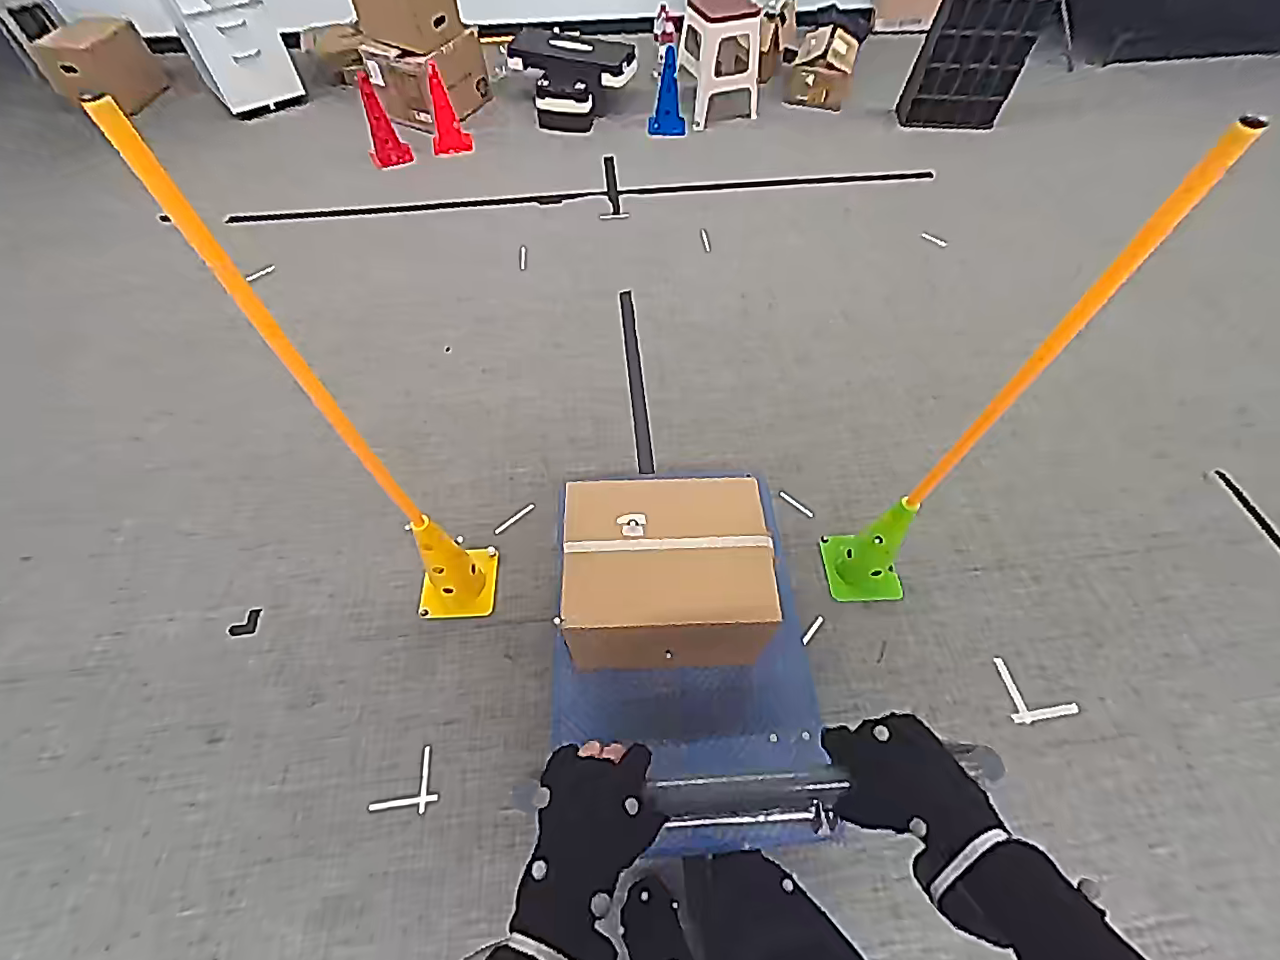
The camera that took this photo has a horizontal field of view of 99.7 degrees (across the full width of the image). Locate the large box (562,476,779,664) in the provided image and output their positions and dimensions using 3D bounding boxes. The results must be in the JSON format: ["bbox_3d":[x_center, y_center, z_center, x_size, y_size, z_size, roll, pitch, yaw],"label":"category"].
[{"bbox_3d":[0.053,0.208,1.189,0.408,0.320,0.320,-2,57,-1],"label":"large box"}]

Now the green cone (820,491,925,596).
[{"bbox_3d":[0.633,0.143,1.402,0.202,0.368,0.200,-1,57,-2],"label":"green cone"}]
